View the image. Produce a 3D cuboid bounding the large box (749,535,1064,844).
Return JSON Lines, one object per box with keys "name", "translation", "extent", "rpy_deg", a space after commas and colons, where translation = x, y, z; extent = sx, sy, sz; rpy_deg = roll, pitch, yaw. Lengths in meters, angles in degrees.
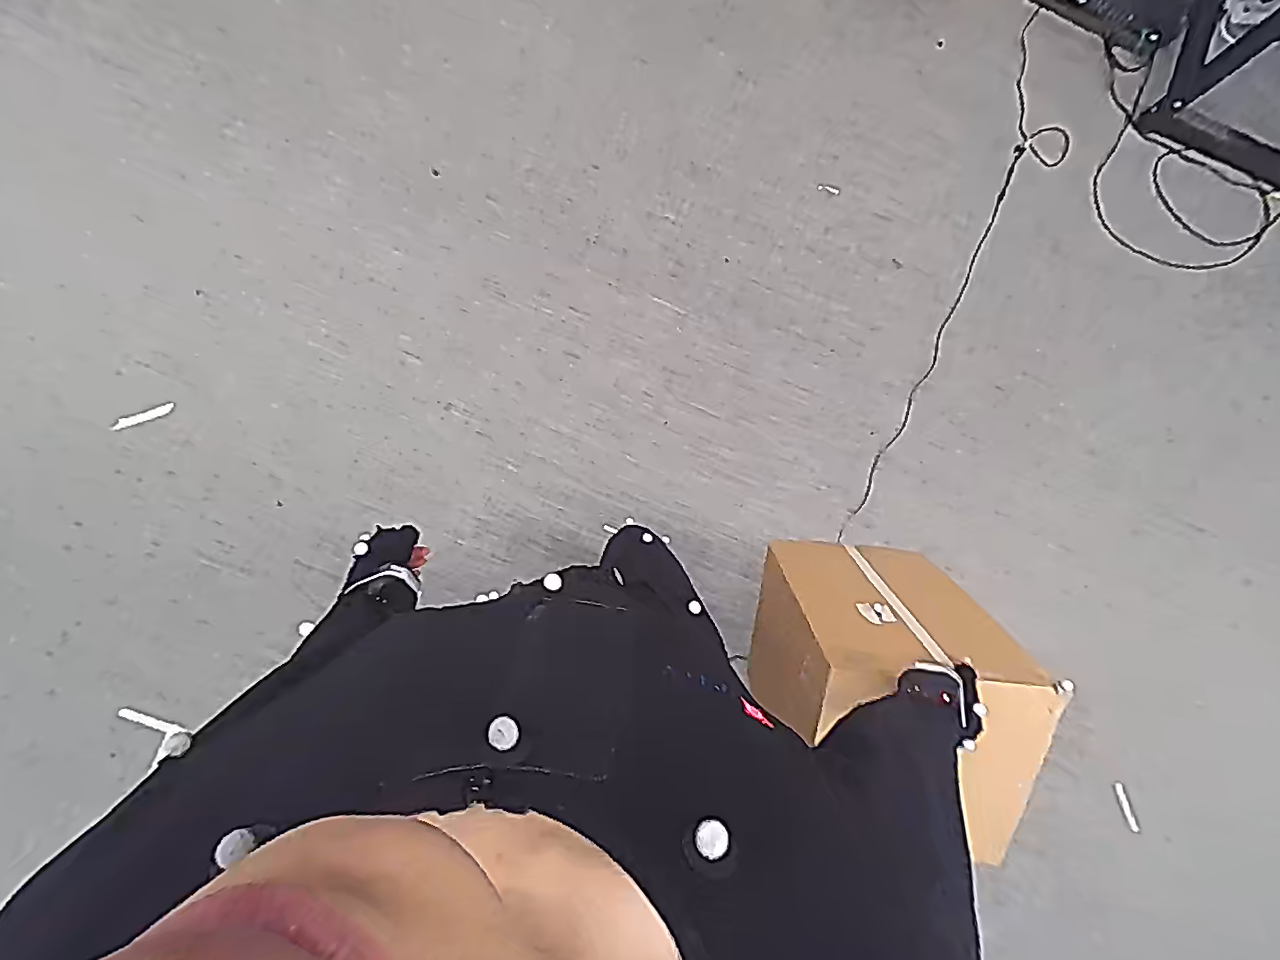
{"name": "large box", "translation": [0.399, 0.330, 0.946], "extent": [0.320, 0.408, 0.320], "rpy_deg": [4, 109, -1]}
